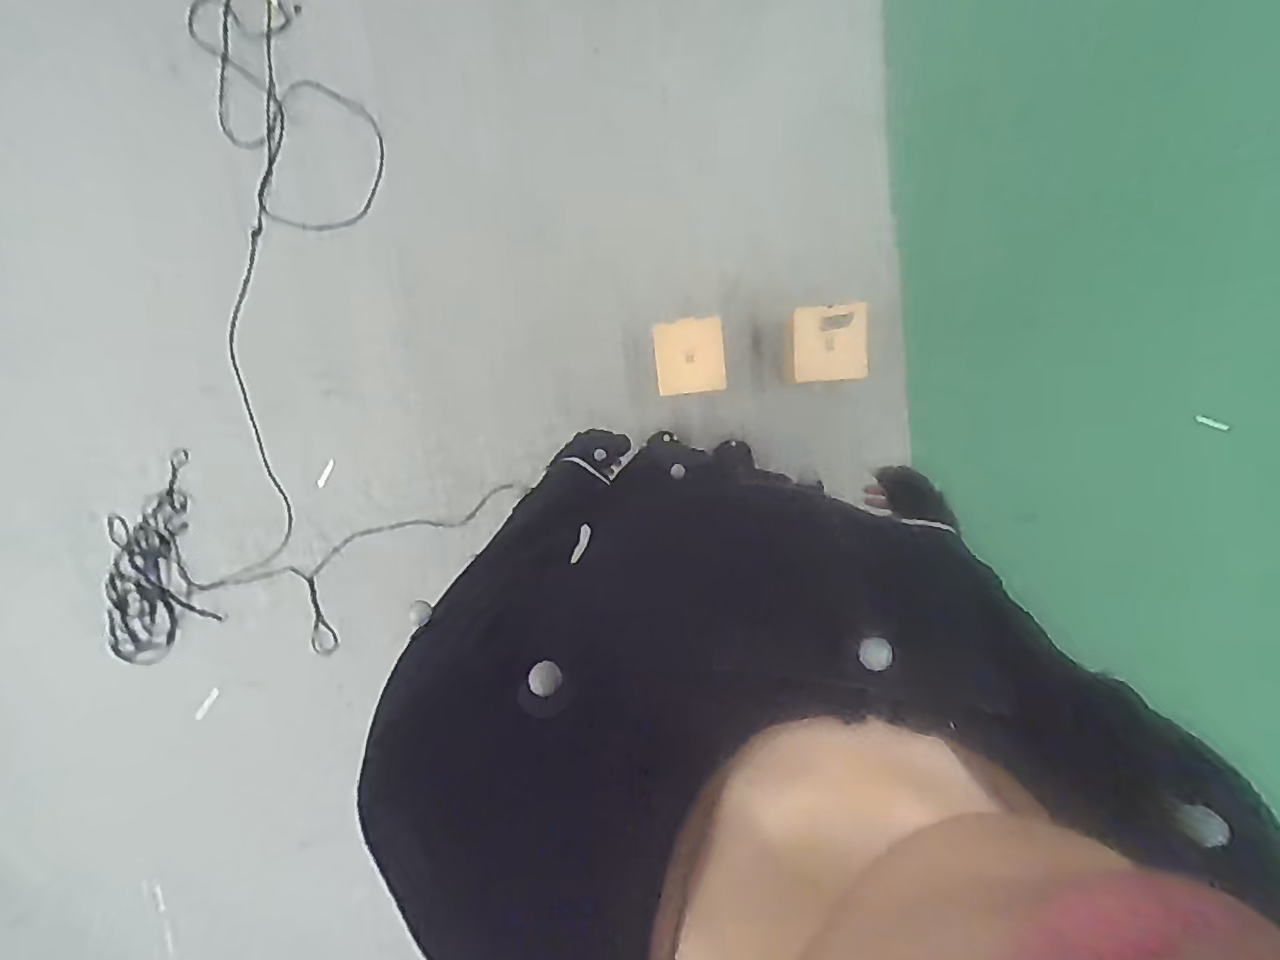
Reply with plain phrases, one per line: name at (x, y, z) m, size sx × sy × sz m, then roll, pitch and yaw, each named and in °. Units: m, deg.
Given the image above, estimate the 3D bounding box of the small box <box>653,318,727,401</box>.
small box at (0.131, -0.297, 1.373) m, size 0.168 × 0.176 × 0.179 m, roll -6°, pitch 93°, yaw 7°

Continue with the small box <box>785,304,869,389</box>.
small box at (0.453, -0.321, 1.329) m, size 0.168 × 0.176 × 0.179 m, roll -2°, pitch 95°, yaw 7°
